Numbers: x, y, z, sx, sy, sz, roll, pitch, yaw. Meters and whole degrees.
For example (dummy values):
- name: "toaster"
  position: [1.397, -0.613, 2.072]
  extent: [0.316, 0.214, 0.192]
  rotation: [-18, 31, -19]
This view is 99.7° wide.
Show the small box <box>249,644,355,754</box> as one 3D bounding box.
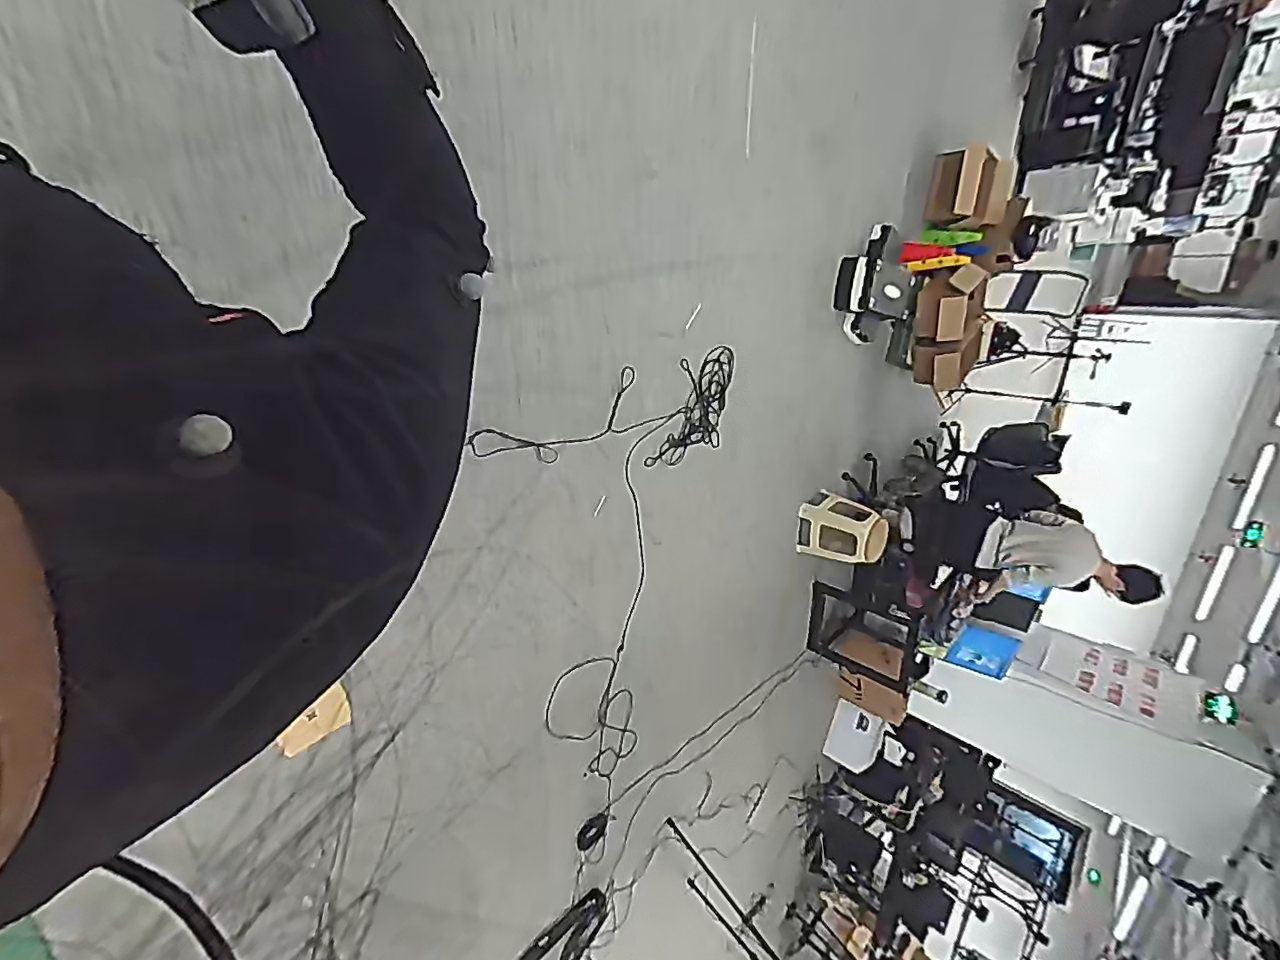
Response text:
- name: "small box"
  position: [-0.872, 0.550, 1.393]
  extent: [0.168, 0.176, 0.179]
  rotation: [-27, 123, -38]
